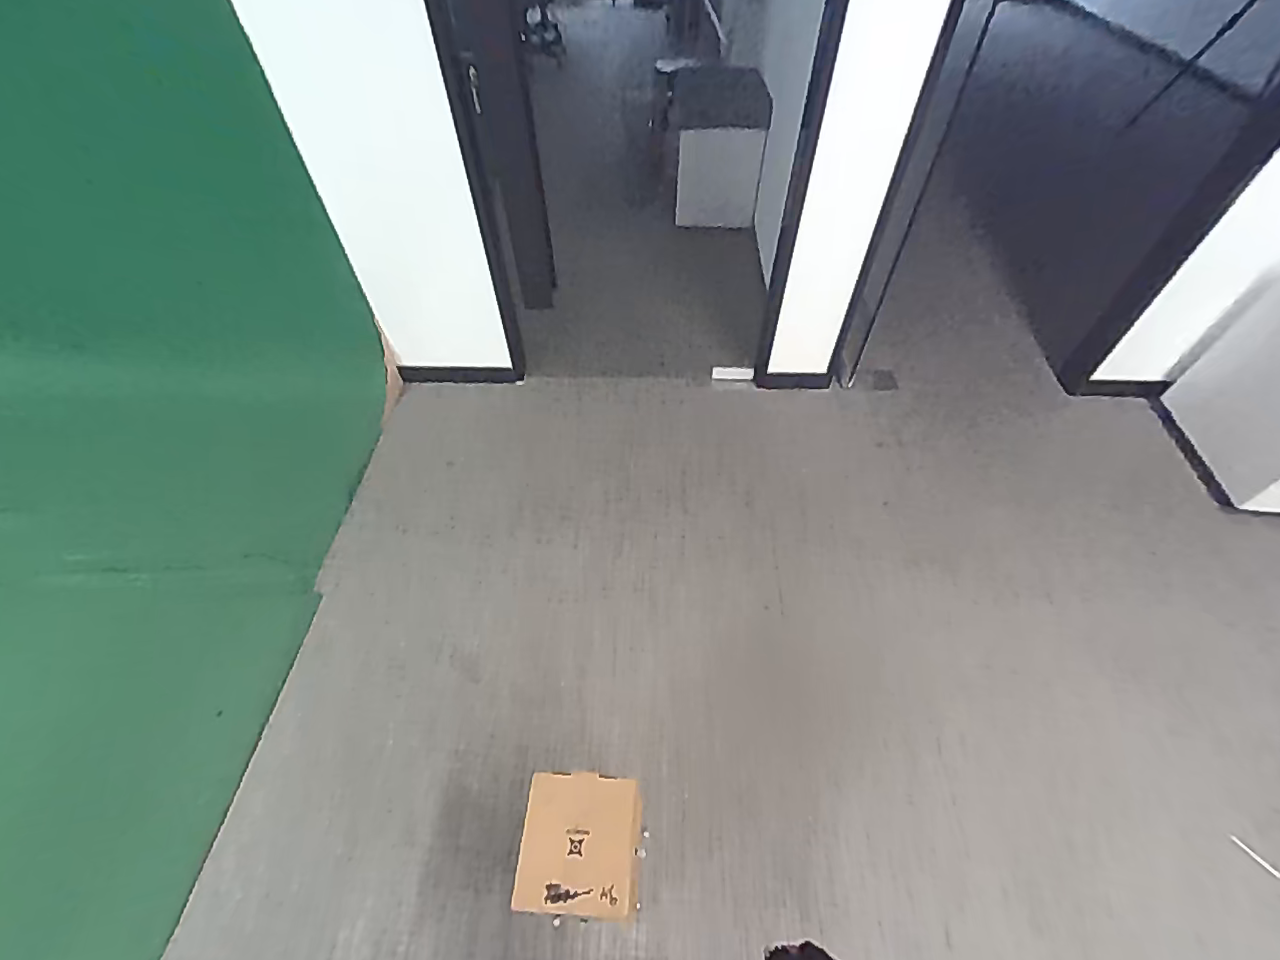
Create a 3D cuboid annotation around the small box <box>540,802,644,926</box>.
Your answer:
[{"bbox_3d":[-0.080,0.694,0.986,0.168,0.176,0.179,2,51,4],"label":"small box"}]

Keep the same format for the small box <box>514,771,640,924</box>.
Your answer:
[{"bbox_3d":[-0.088,0.586,0.861,0.168,0.176,0.179,2,50,4],"label":"small box"}]
